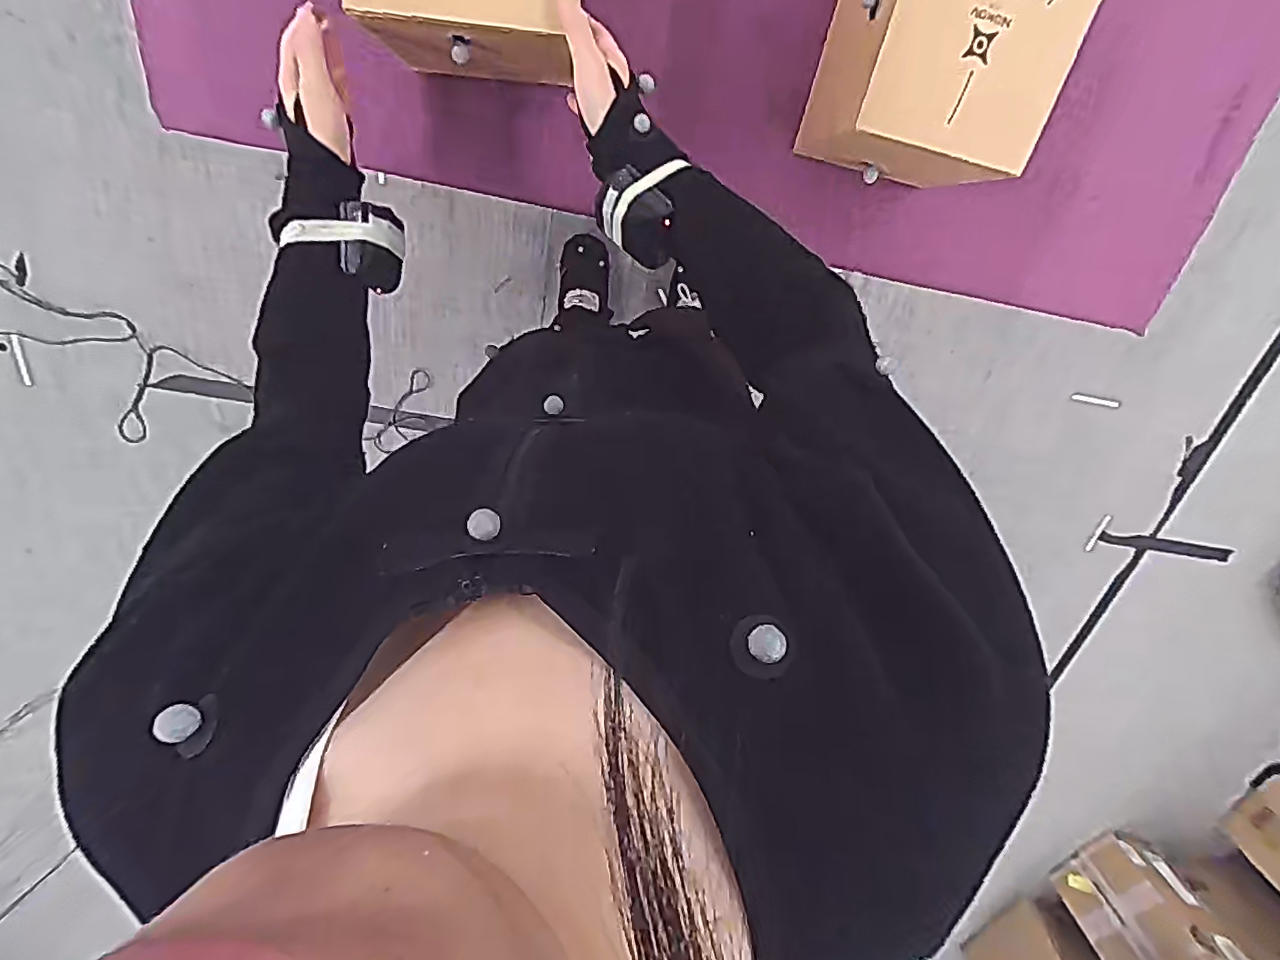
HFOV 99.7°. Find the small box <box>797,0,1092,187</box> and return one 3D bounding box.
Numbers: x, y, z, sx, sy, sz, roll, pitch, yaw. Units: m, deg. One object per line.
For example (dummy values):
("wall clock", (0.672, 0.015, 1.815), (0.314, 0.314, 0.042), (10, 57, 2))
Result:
("small box", (0.272, -0.399, 0.518), (0.168, 0.176, 0.179), (10, 114, -9))

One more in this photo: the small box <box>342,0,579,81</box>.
("small box", (-0.140, -0.462, 0.460), (0.179, 0.176, 0.168), (3, 115, -5))
